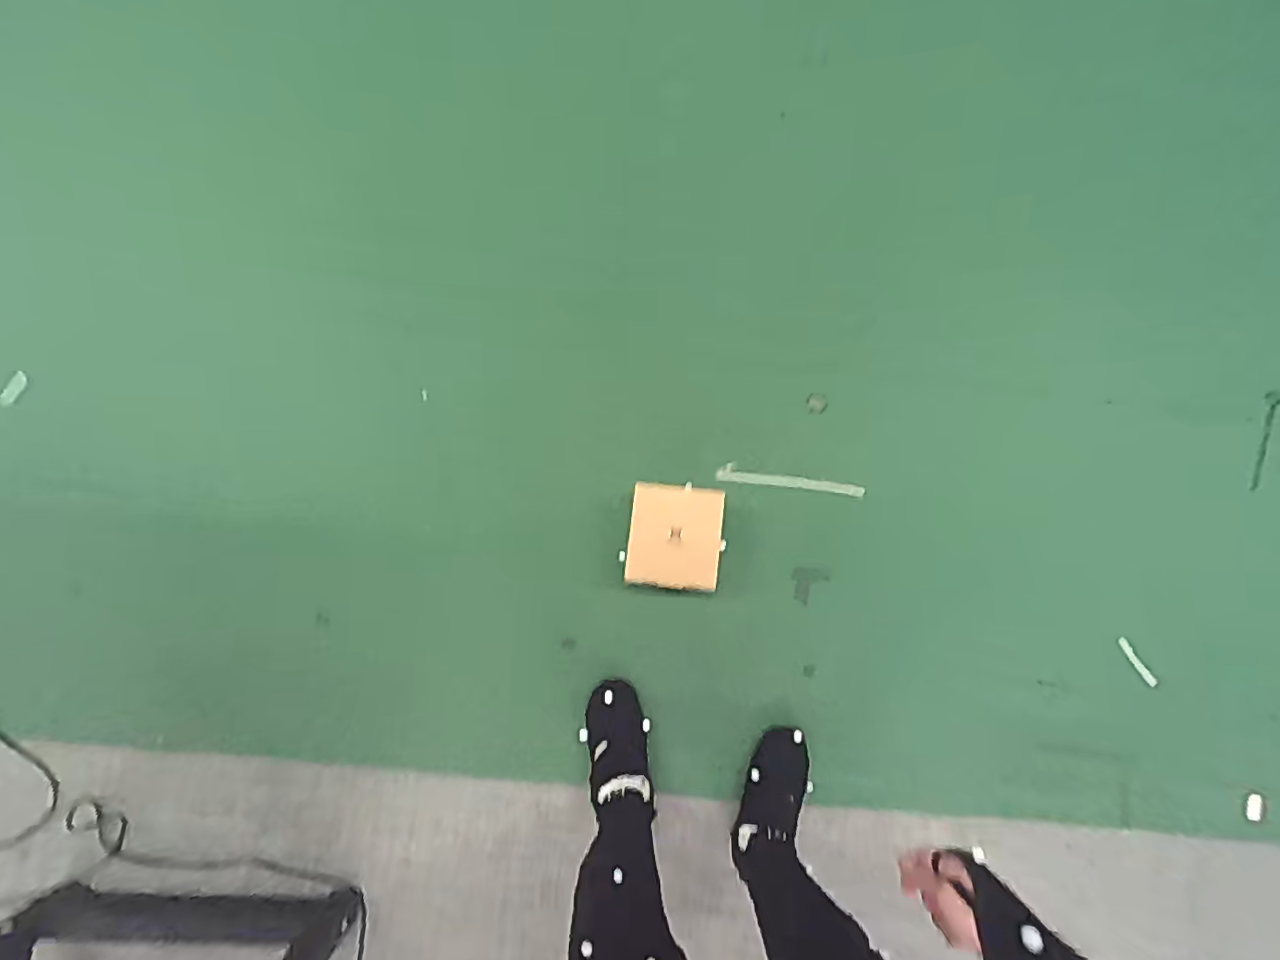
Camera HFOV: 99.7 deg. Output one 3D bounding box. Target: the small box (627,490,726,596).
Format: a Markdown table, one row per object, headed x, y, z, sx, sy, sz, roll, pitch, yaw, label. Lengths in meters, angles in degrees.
| x | y | z | sx | sy | sz | roll | pitch | yaw | label |
| --- | --- | --- | --- | --- | --- | --- | --- | --- | --- |
| 0.064 | 0.119 | 1.047 | 0.168 | 0.176 | 0.179 | 6 | 85 | -1 | small box |
